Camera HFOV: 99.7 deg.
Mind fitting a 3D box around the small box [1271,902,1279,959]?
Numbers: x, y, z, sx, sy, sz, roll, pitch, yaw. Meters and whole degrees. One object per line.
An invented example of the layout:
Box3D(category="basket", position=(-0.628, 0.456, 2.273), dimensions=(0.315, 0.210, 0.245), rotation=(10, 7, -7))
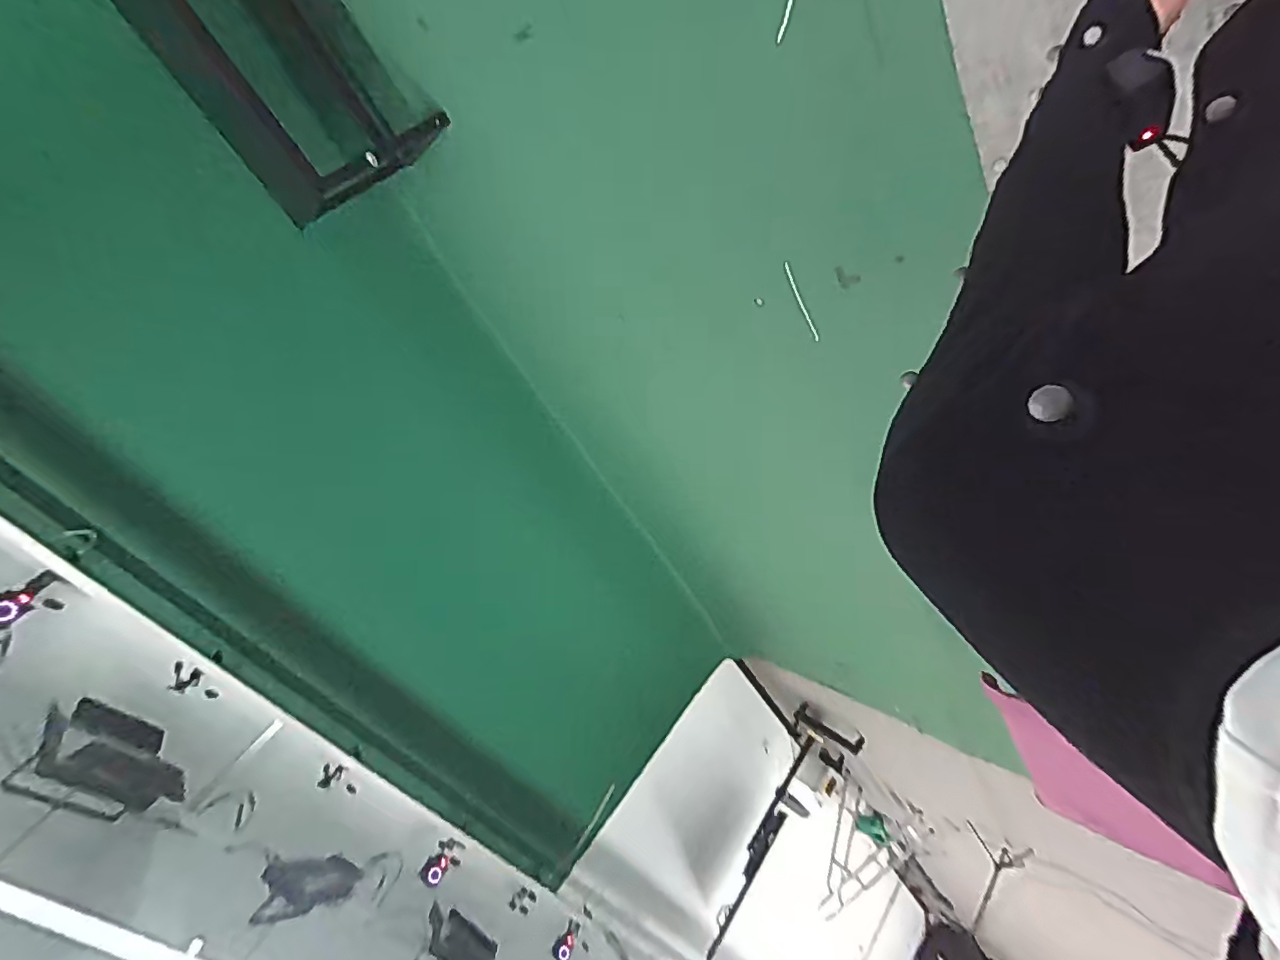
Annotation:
Box3D(category="small box", position=(1.585, 1.074, 1.237), dimensions=(0.168, 0.176, 0.179), rotation=(7, 138, 54))
